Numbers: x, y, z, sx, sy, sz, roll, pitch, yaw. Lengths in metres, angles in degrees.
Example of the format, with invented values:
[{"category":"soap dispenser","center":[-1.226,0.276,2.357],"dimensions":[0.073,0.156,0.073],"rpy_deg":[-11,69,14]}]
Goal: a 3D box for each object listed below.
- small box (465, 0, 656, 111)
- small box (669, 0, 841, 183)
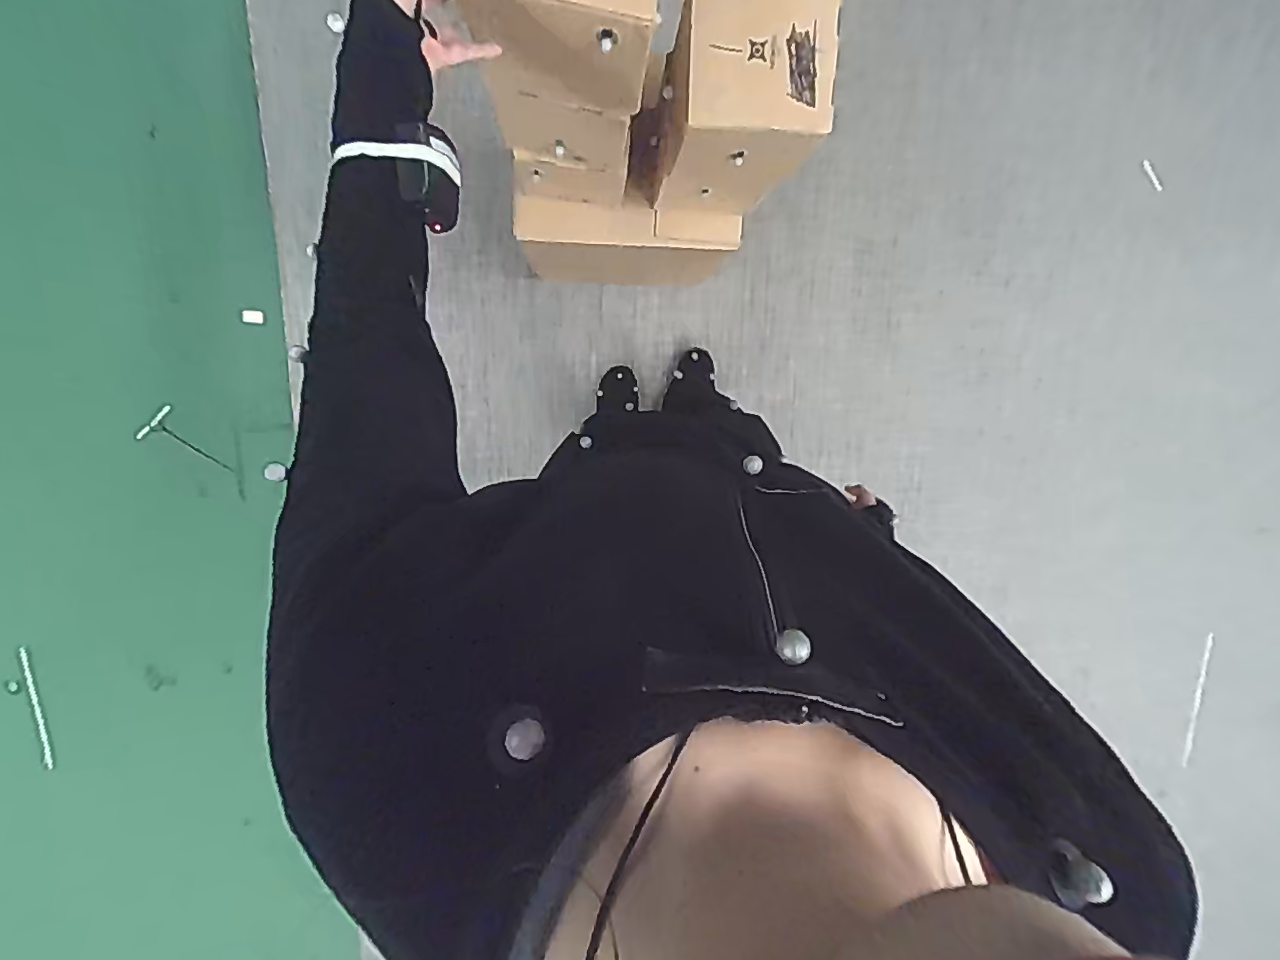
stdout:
[{"category":"small box","center":[-0.071,-0.495,0.525],"dimensions":[0.179,0.176,0.168],"rpy_deg":[6,100,-7]},{"category":"small box","center":[0.137,-0.504,0.704],"dimensions":[0.179,0.176,0.168],"rpy_deg":[0,100,-3]}]
